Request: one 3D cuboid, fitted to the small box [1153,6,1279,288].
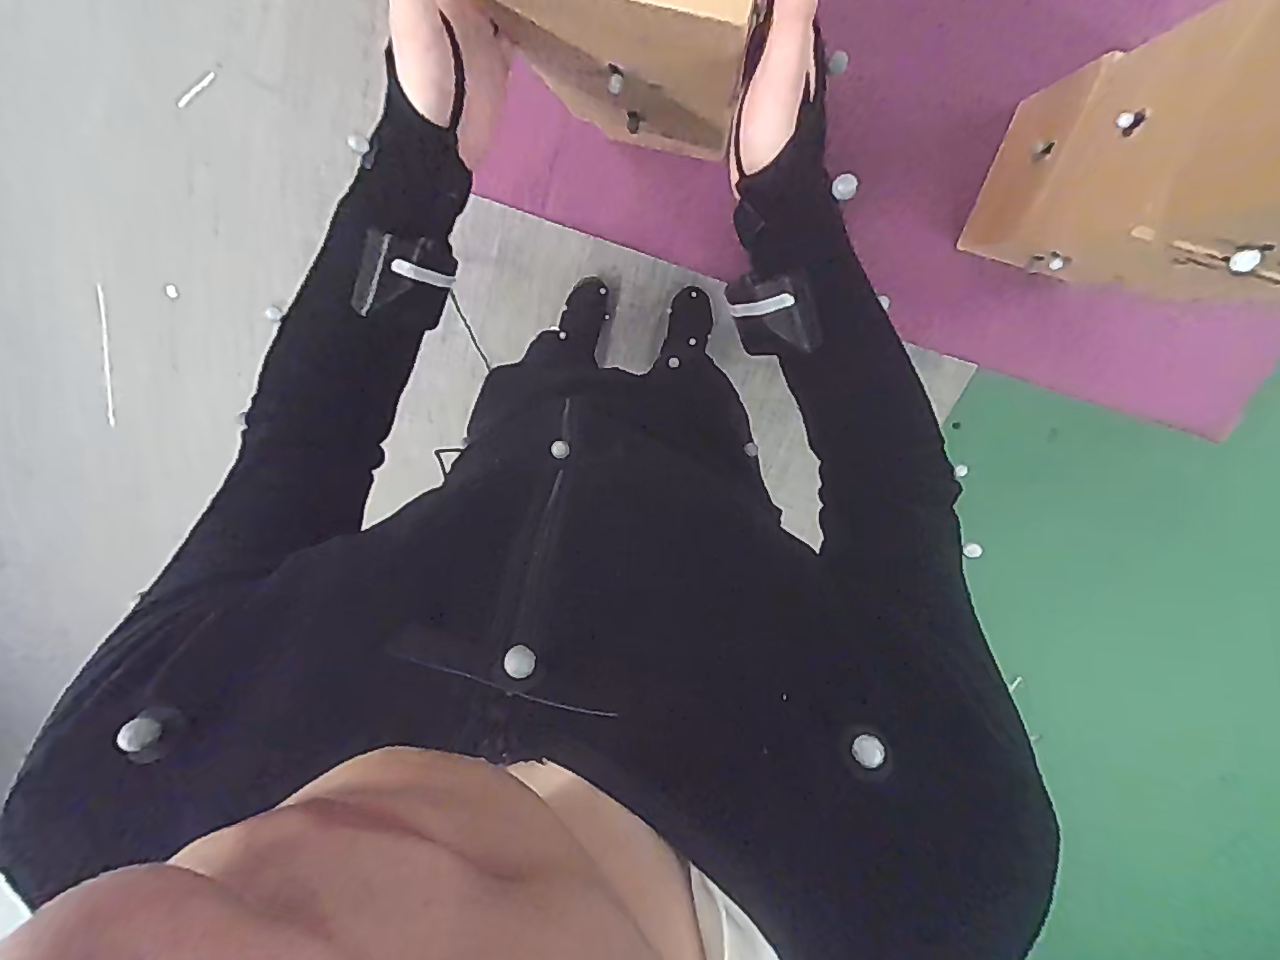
[{"bbox_3d":[0.476,-0.215,0.313,0.168,0.176,0.179,20,111,-1],"label":"small box"}]

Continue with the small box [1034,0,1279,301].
[{"bbox_3d":[0.493,-0.265,0.468,0.168,0.176,0.179,19,110,-1],"label":"small box"}]

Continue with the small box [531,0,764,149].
[{"bbox_3d":[0.019,-0.409,0.463,0.168,0.176,0.179,14,112,0],"label":"small box"}]

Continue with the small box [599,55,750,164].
[{"bbox_3d":[0.039,-0.485,0.610,0.168,0.176,0.179,13,112,2],"label":"small box"}]

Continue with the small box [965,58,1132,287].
[{"bbox_3d":[0.512,-0.329,0.618,0.168,0.176,0.179,17,110,0],"label":"small box"}]
